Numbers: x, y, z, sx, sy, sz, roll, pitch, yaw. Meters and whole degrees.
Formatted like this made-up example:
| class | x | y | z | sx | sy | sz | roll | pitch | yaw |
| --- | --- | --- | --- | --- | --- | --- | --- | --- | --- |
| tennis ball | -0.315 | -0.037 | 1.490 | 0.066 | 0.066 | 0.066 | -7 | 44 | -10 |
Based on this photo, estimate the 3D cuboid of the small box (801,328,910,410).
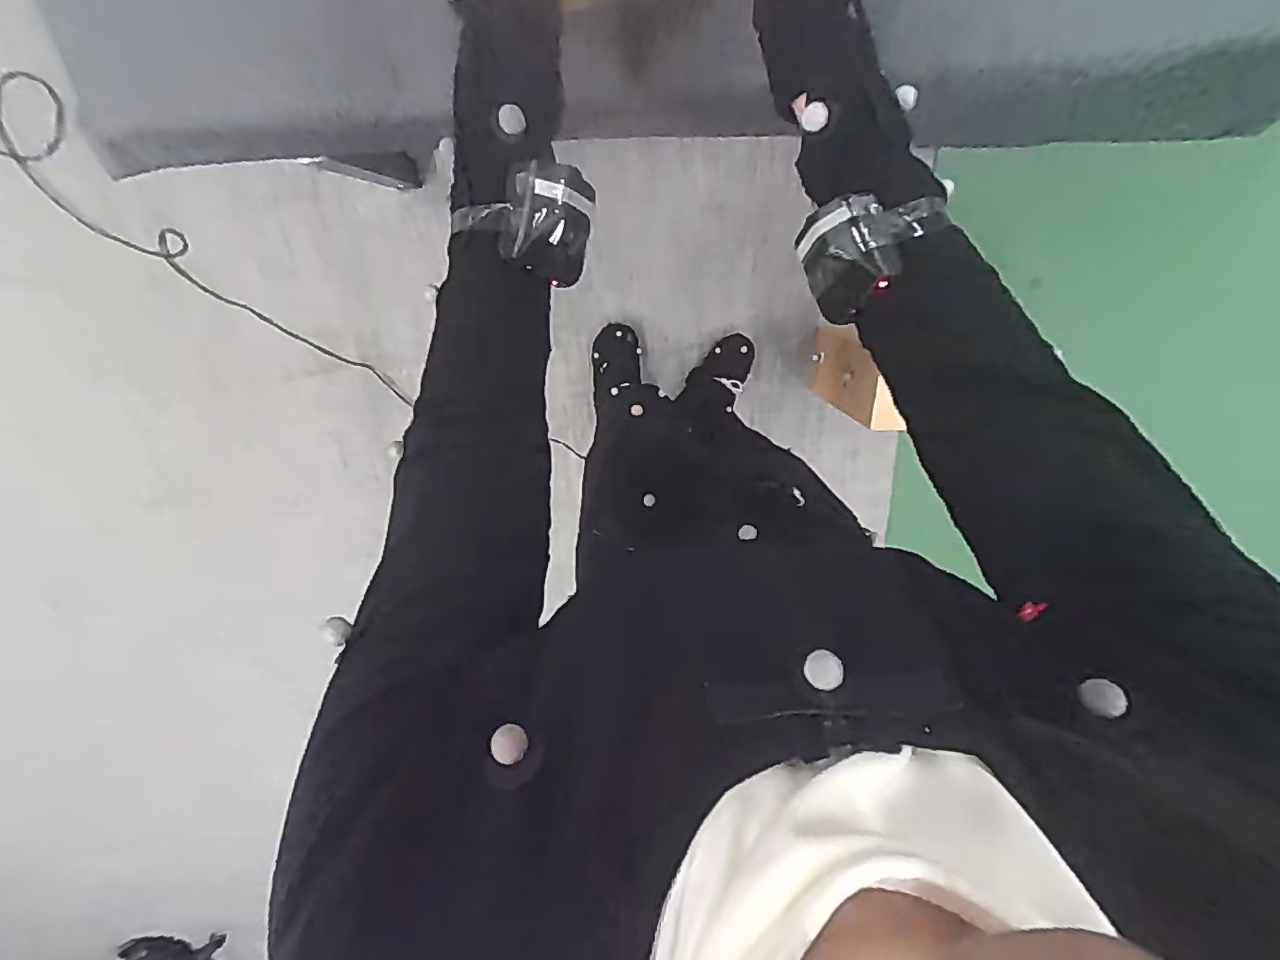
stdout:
| class | x | y | z | sx | sy | sz | roll | pitch | yaw |
| --- | --- | --- | --- | --- | --- | --- | --- | --- | --- |
| small box | 0.504 | -0.268 | 1.289 | 0.179 | 0.176 | 0.168 | -2 | 112 | -2 |

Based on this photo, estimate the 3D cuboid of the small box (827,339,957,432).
| class | x | y | z | sx | sy | sz | roll | pitch | yaw |
| --- | --- | --- | --- | --- | --- | --- | --- | --- | --- |
| small box | 0.519 | -0.203 | 1.138 | 0.179 | 0.176 | 0.168 | -1 | 112 | -3 |
